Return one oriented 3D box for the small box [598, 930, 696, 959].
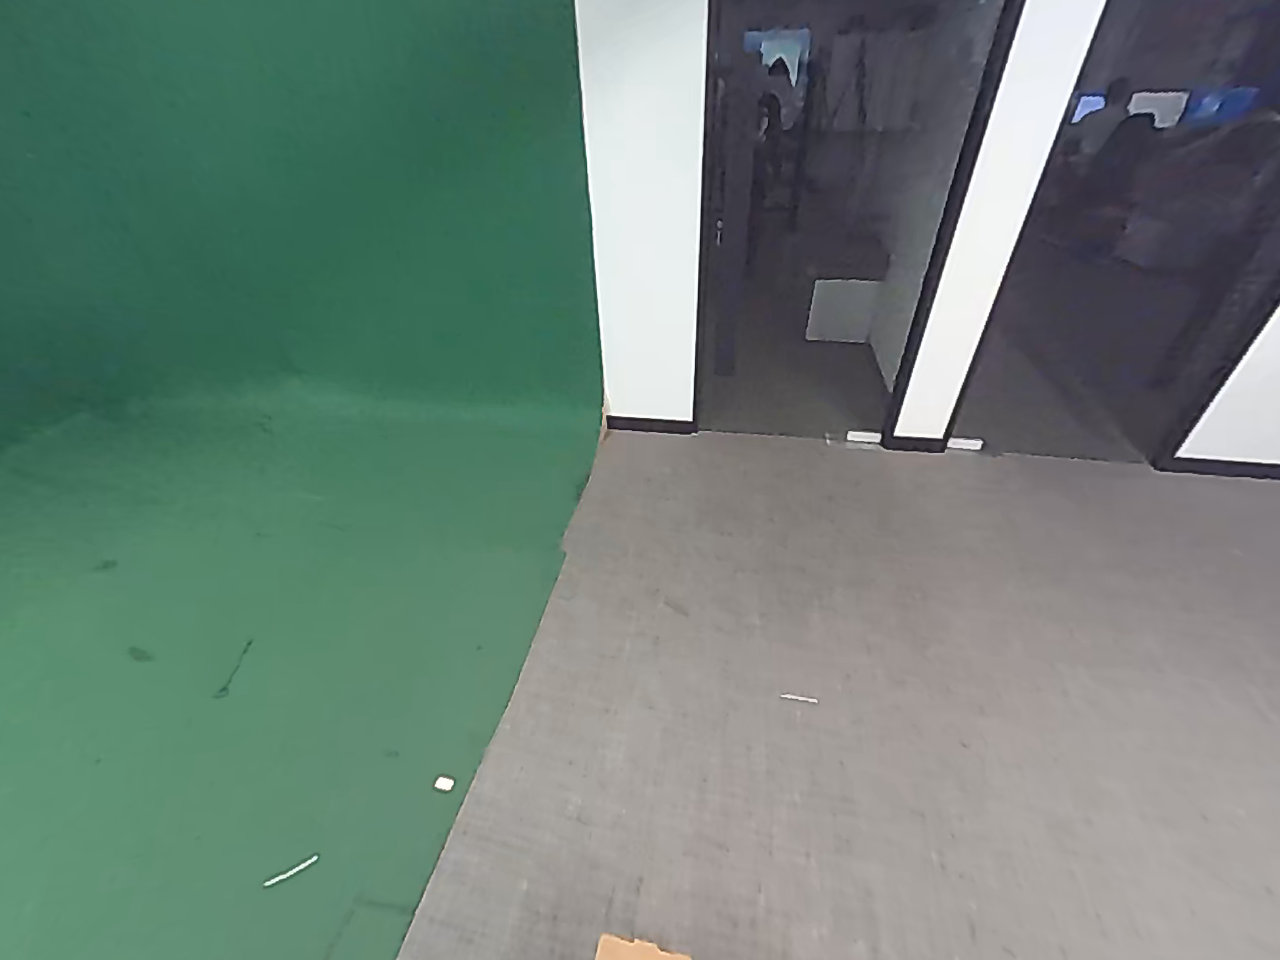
[{"bbox_3d":[0.000,0.911,0.914,0.168,0.176,0.179,5,39,12],"label":"small box"}]
